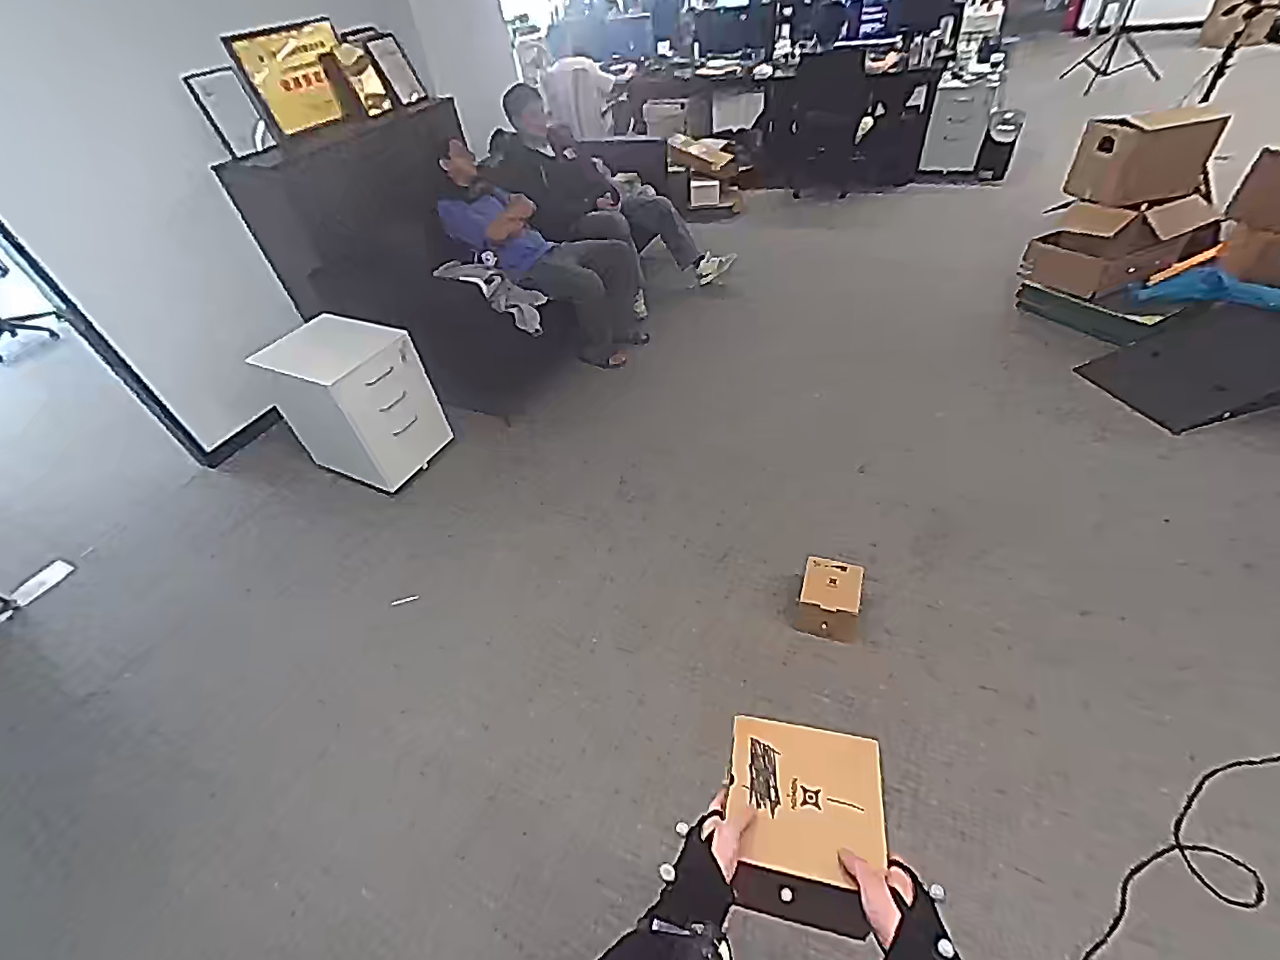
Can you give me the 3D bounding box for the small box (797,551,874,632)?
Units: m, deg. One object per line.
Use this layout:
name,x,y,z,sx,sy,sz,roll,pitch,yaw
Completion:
small box,0.601,0.352,1.682,0.179,0.176,0.168,-12,42,0

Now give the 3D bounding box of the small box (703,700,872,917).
small box,0.188,0.413,0.684,0.179,0.176,0.168,7,43,19
